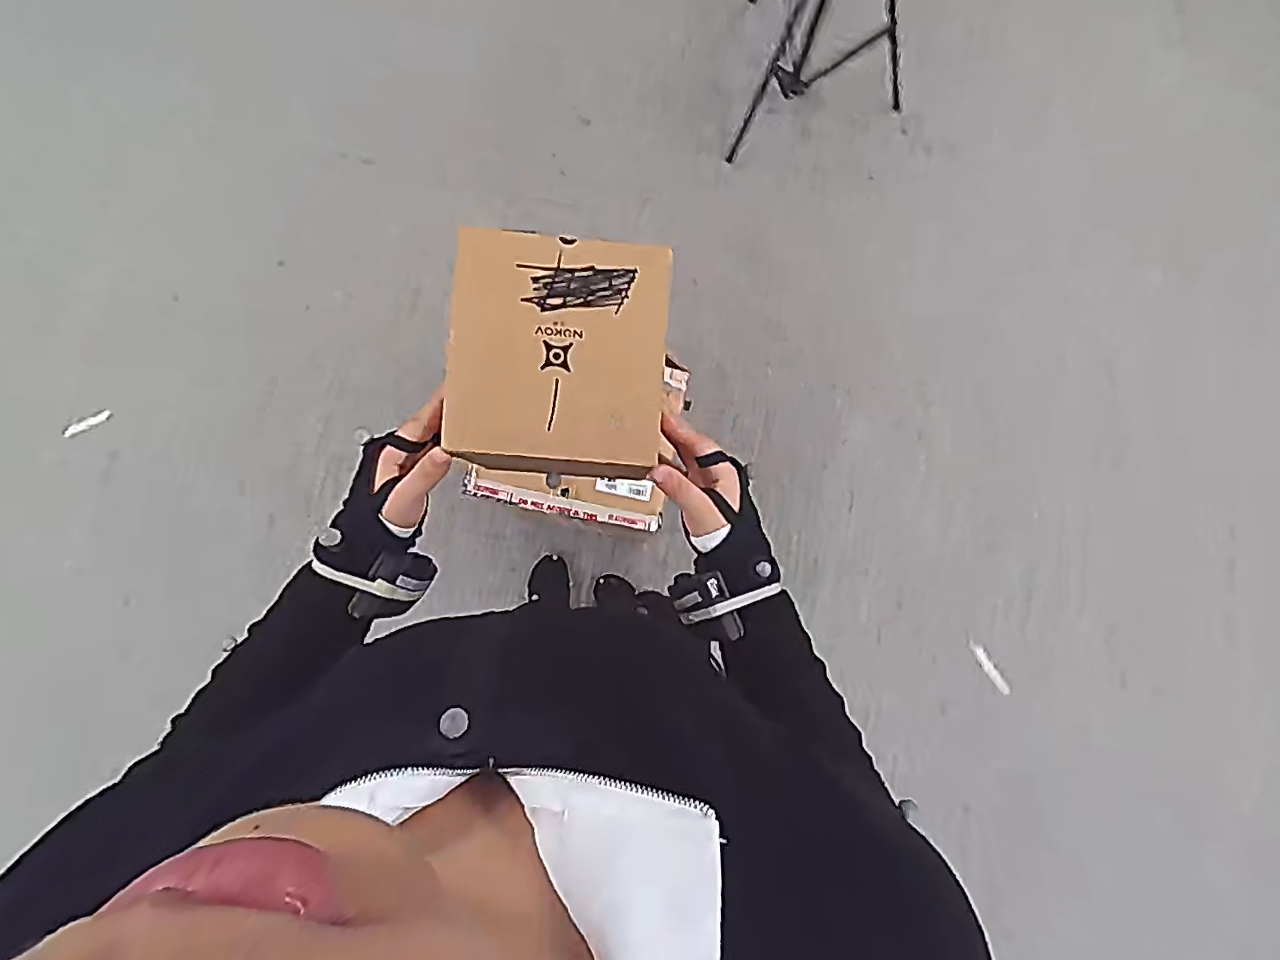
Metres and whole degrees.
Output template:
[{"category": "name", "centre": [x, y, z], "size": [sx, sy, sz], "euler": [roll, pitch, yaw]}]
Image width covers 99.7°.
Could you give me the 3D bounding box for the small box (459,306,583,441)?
[{"category": "small box", "centre": [-0.204, -0.185, 0.985], "size": [0.168, 0.176, 0.179], "euler": [13, 83, 2]}]
